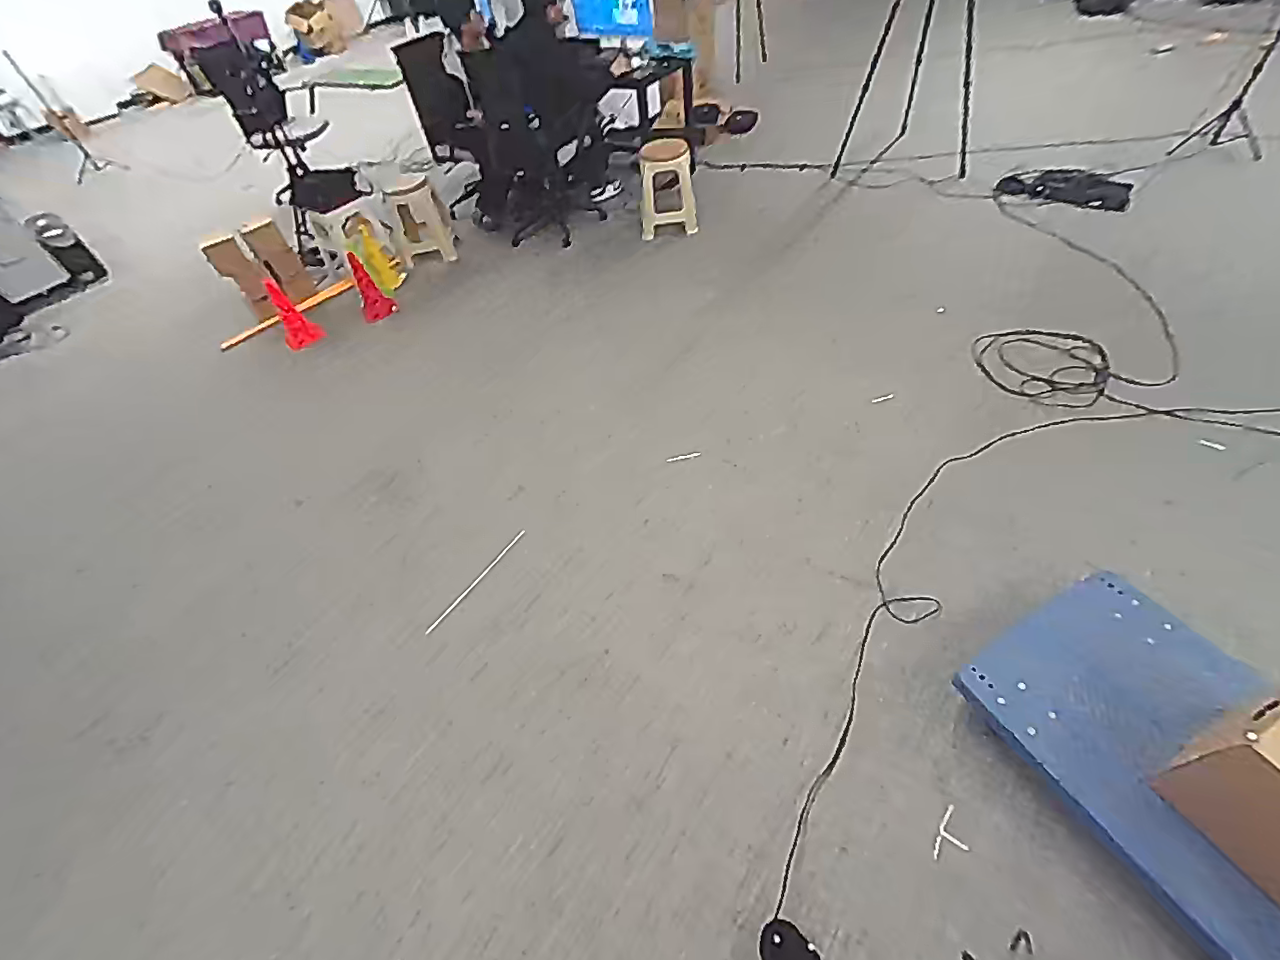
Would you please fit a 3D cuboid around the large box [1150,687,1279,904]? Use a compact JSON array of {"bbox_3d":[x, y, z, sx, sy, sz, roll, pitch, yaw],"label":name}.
[{"bbox_3d":[1.294,0.616,0.961,0.320,0.320,0.408,-26,50,-13],"label":"large box"}]
